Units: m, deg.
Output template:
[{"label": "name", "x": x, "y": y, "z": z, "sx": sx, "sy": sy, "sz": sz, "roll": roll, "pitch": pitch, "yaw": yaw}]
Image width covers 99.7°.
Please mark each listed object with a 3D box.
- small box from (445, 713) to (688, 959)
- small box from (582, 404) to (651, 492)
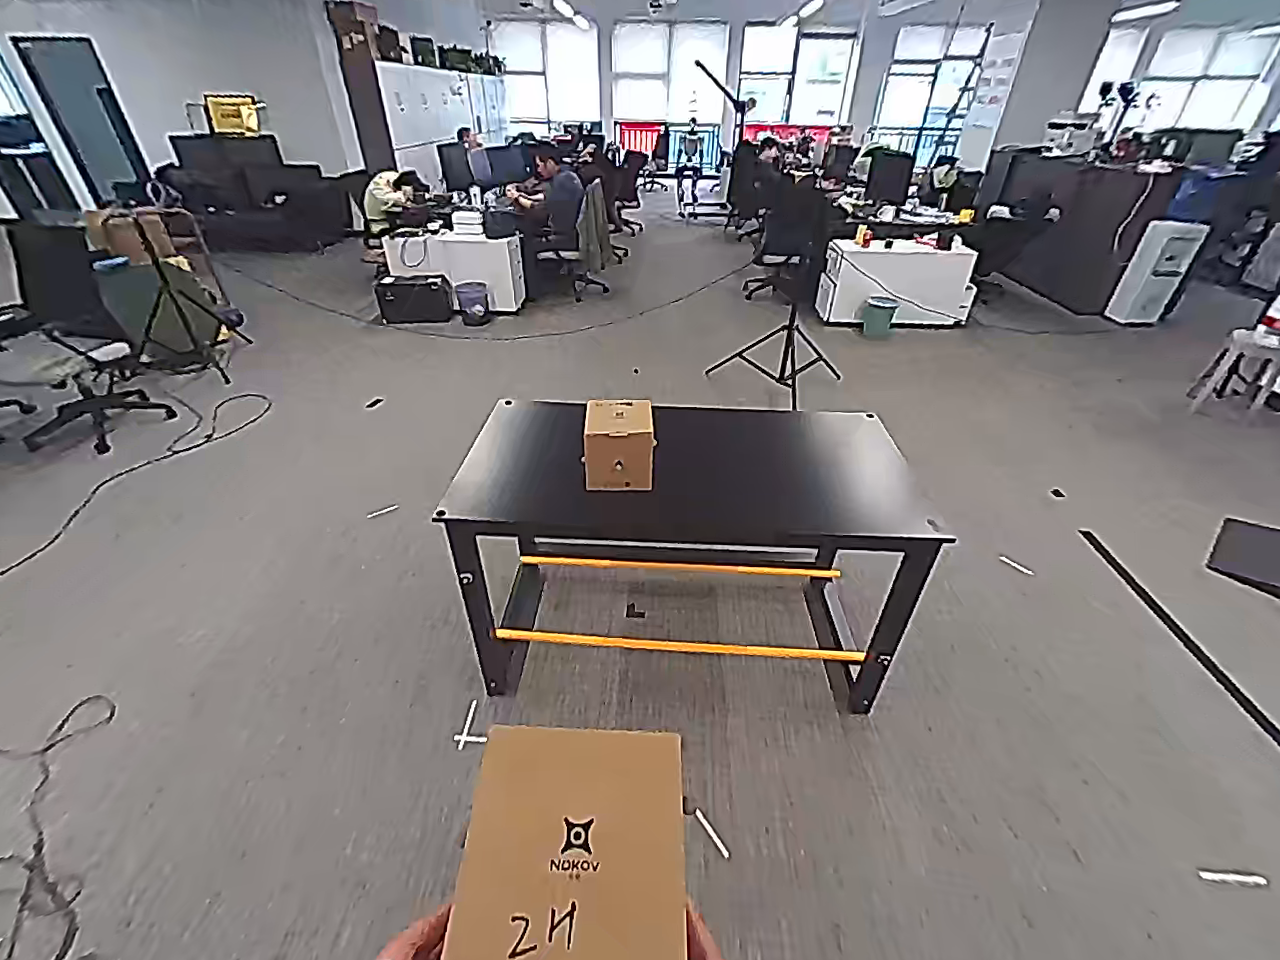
[{"label": "small box", "x": -0.051, "y": 0.328, "z": 0.473, "sx": 0.168, "sy": 0.176, "sz": 0.179, "roll": 3, "pitch": 45, "yaw": -1}, {"label": "small box", "x": -0.055, "y": -0.080, "z": 1.393, "sx": 0.168, "sy": 0.176, "sz": 0.179, "roll": -1, "pitch": 35, "yaw": -1}]
